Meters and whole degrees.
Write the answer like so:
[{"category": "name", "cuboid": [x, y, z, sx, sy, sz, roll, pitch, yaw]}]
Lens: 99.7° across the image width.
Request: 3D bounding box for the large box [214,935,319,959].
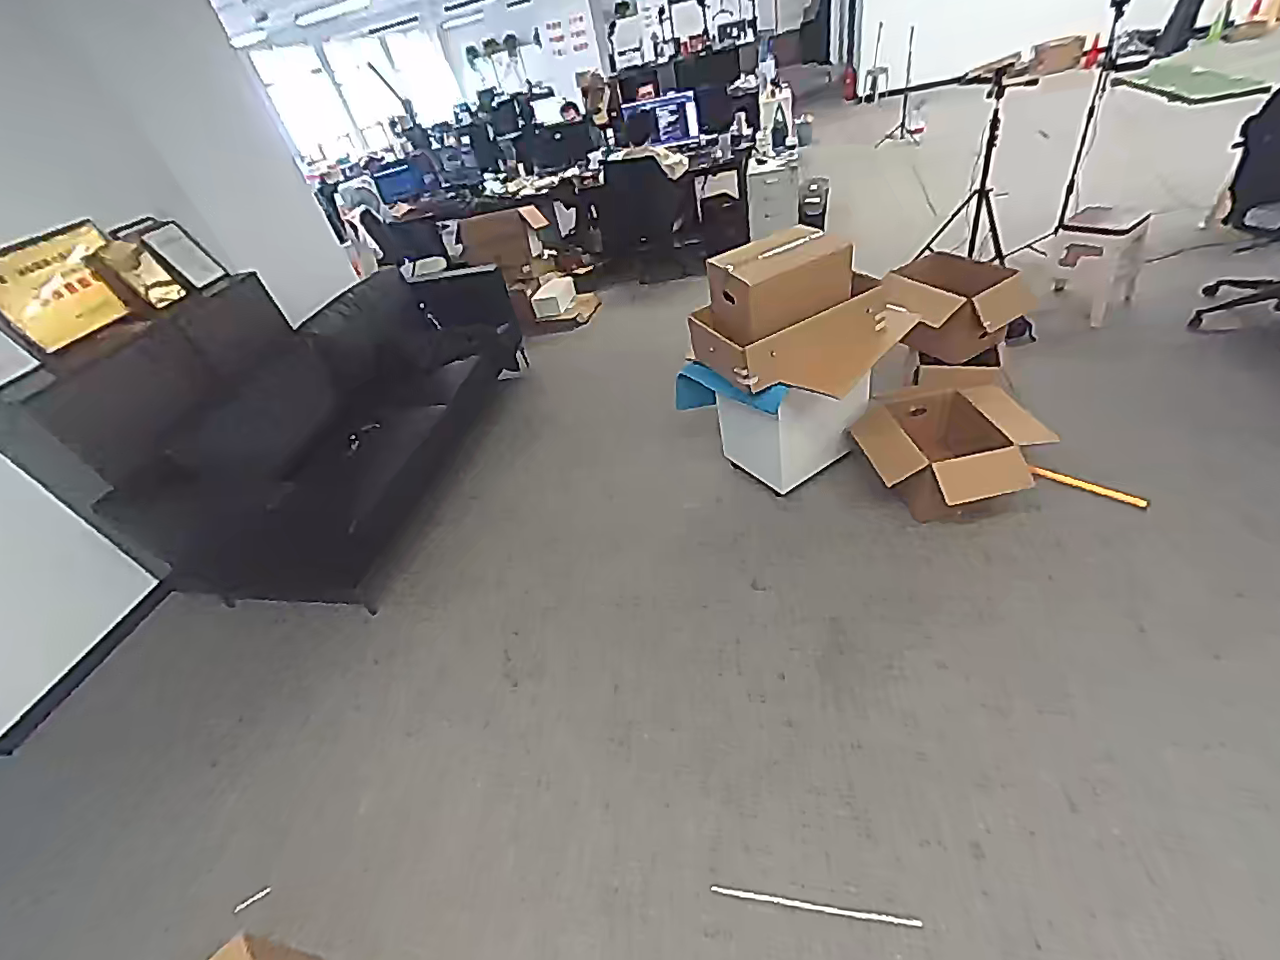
[{"category": "large box", "cuboid": [-0.891, 1.303, 1.139, 0.320, 0.320, 0.408, 24, 54, 39]}]
